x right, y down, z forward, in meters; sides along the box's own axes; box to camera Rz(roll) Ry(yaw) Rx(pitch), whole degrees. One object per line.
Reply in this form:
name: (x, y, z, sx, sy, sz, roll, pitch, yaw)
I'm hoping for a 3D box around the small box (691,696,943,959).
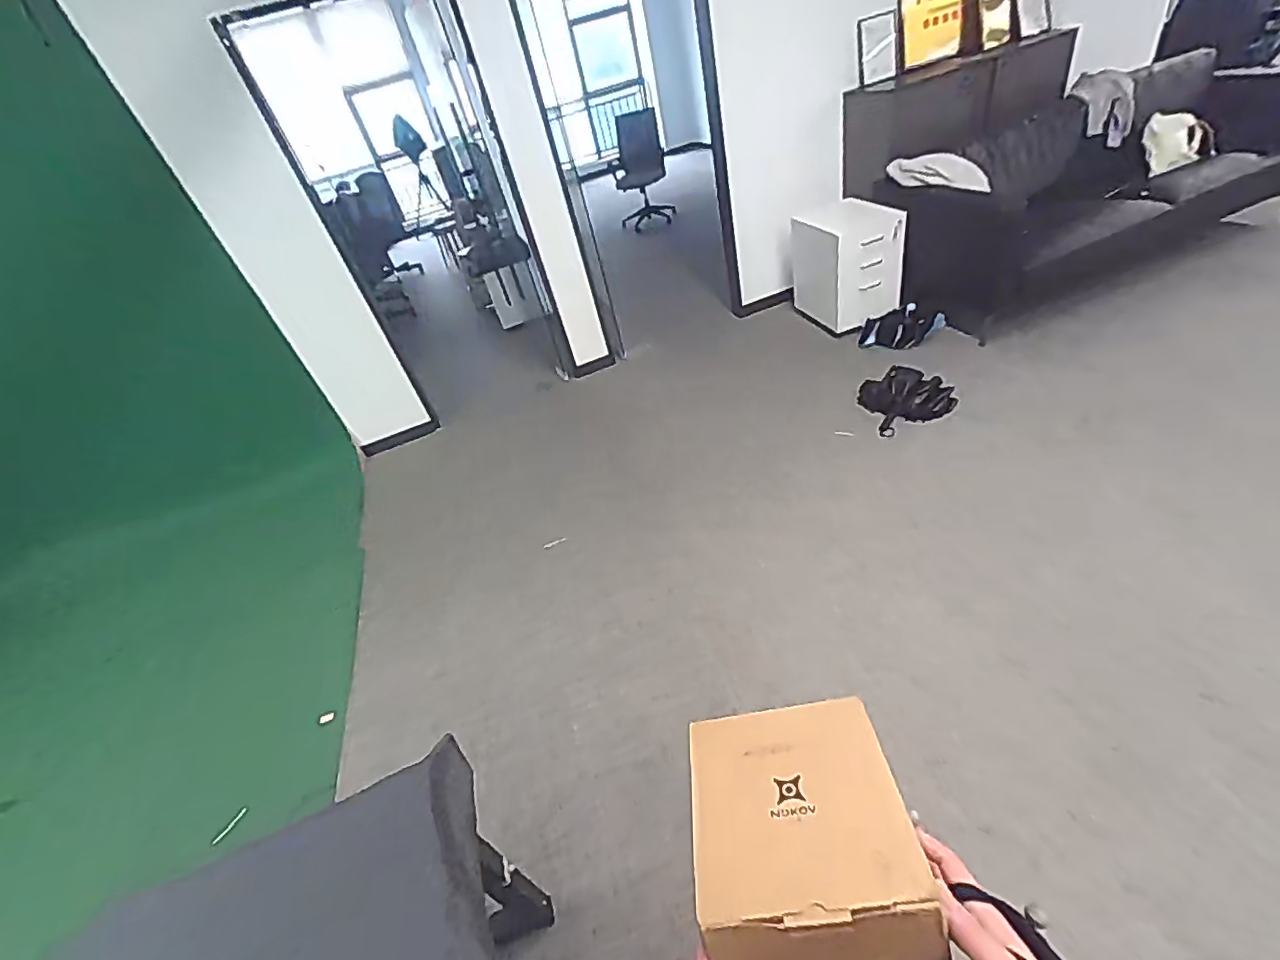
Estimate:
small box: (0.144, 0.325, 0.468, 0.168, 0.176, 0.179, -12, 21, 8)
